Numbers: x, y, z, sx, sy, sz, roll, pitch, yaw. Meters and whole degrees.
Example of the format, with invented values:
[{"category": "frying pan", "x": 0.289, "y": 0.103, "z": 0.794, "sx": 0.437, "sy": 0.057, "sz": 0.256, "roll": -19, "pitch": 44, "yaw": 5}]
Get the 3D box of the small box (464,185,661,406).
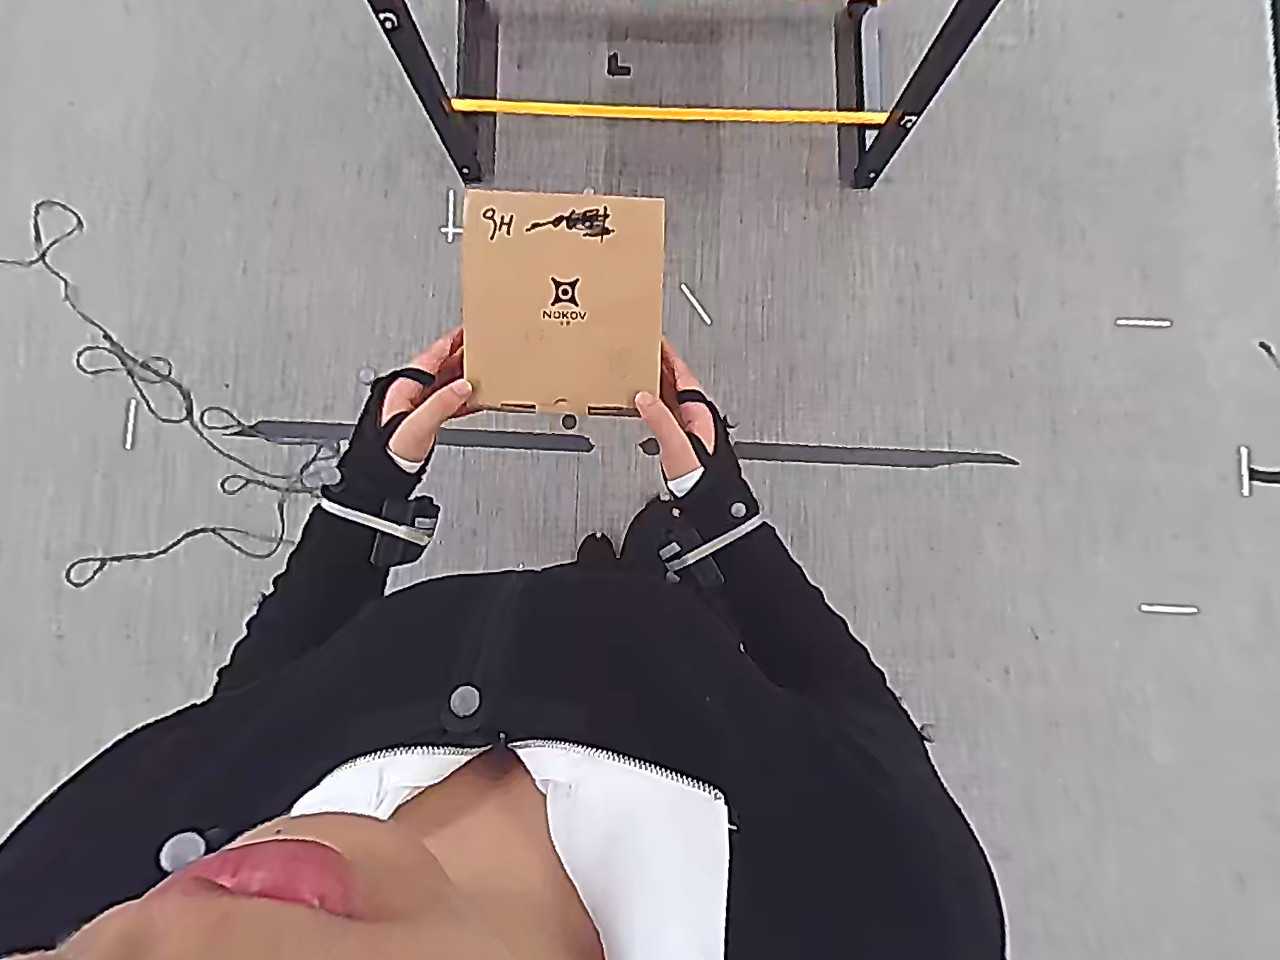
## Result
[{"category": "small box", "x": -0.067, "y": -0.164, "z": 0.535, "sx": 0.168, "sy": 0.176, "sz": 0.179, "roll": 1, "pitch": 96, "yaw": -2}]
